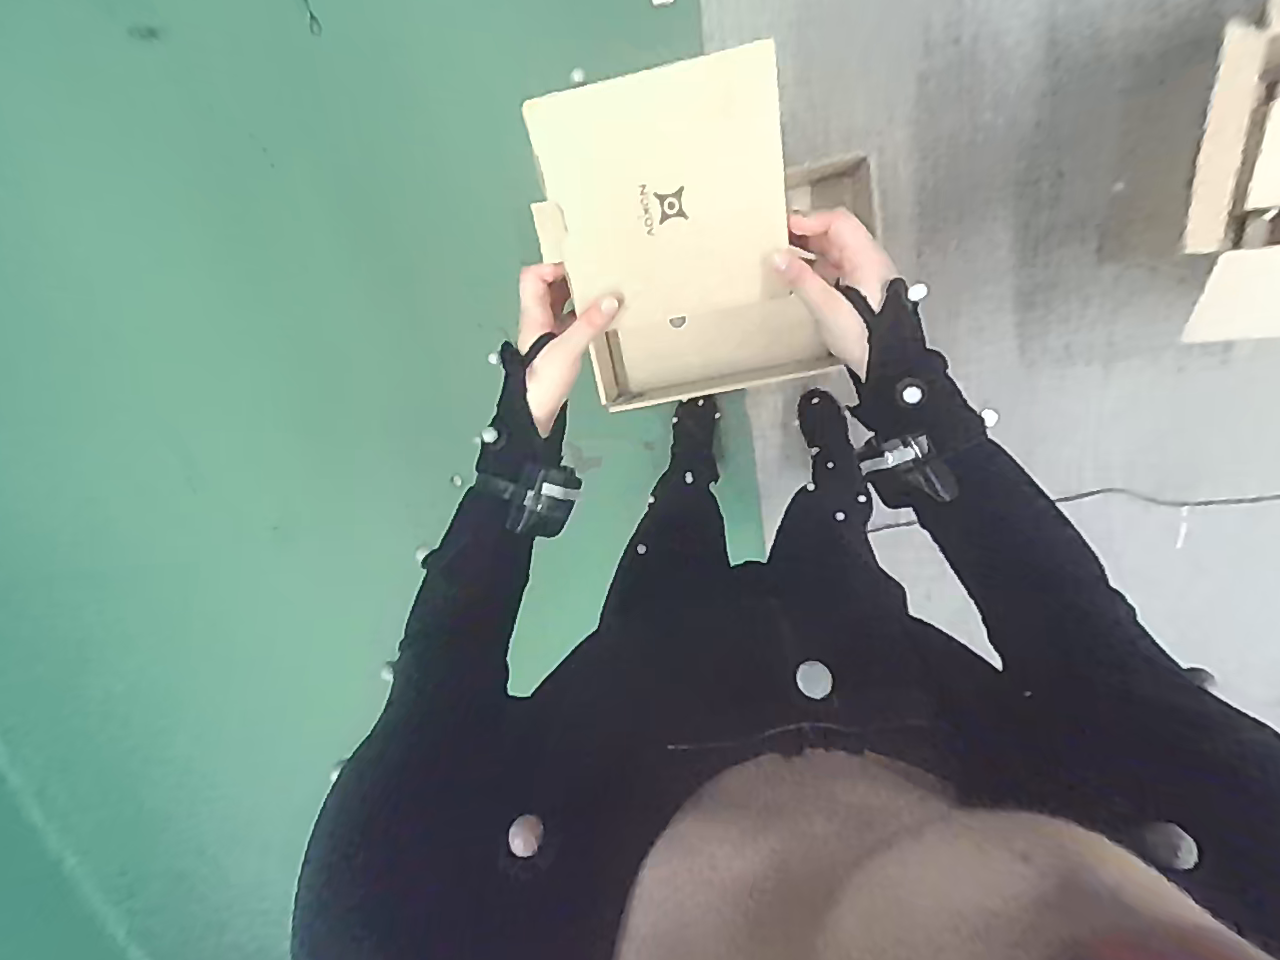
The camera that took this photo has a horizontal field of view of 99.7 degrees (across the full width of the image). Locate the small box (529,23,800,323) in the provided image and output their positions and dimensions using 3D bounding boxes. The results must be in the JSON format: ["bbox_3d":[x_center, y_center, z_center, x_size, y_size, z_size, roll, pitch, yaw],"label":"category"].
[{"bbox_3d":[0.030,-0.254,0.464,0.179,0.176,0.168,-8,120,12],"label":"small box"}]
